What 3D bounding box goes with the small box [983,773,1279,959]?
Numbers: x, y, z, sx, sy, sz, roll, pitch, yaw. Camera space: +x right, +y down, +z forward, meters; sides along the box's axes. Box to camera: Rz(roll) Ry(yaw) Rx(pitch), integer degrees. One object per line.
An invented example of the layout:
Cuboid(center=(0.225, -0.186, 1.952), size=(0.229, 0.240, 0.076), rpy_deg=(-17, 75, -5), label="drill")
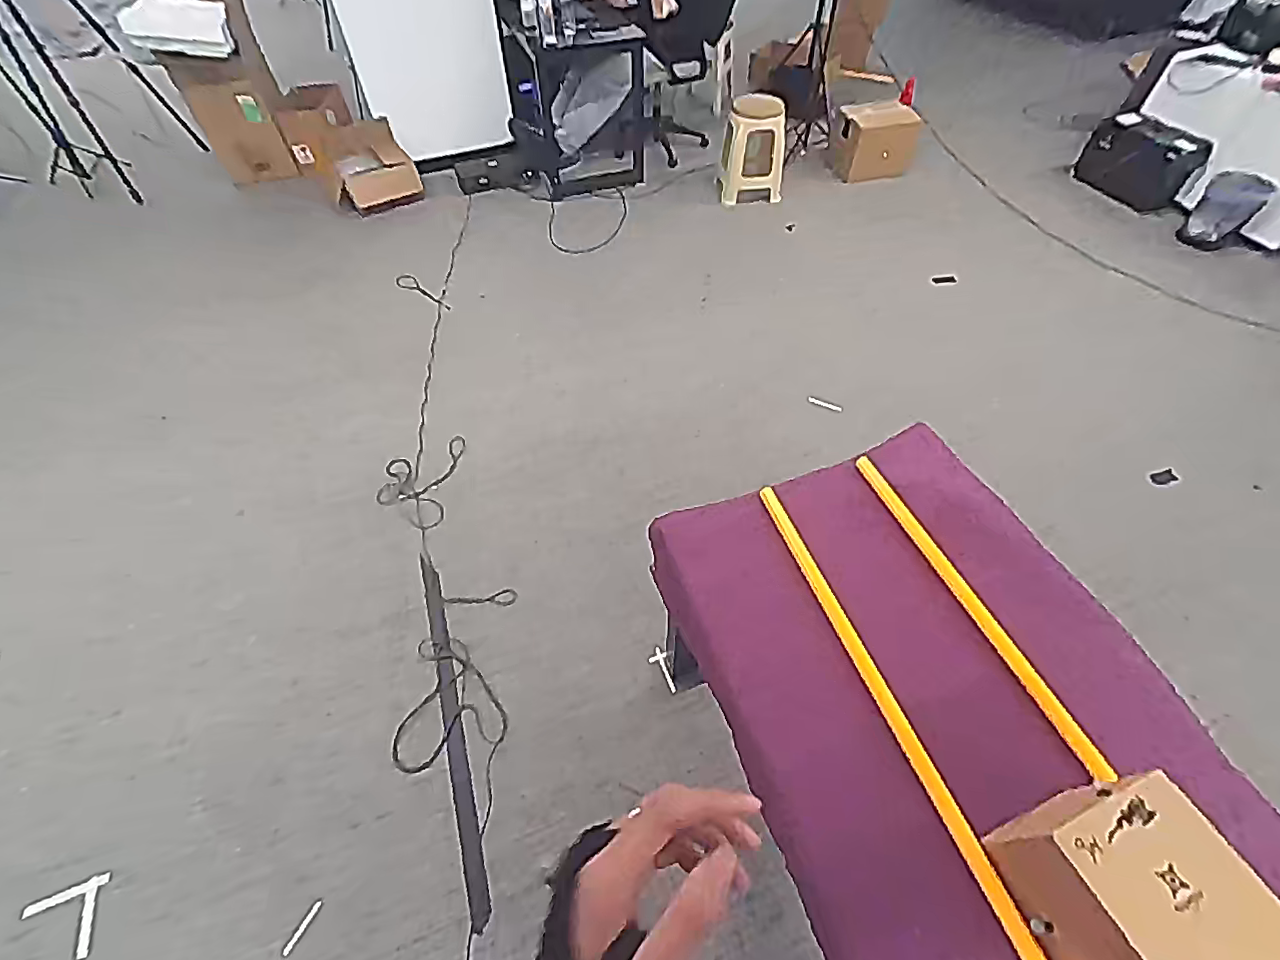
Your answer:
Cuboid(center=(0.544, 0.460, 0.608), size=(0.168, 0.176, 0.179), rpy_deg=(-18, 56, -12), label="small box")
